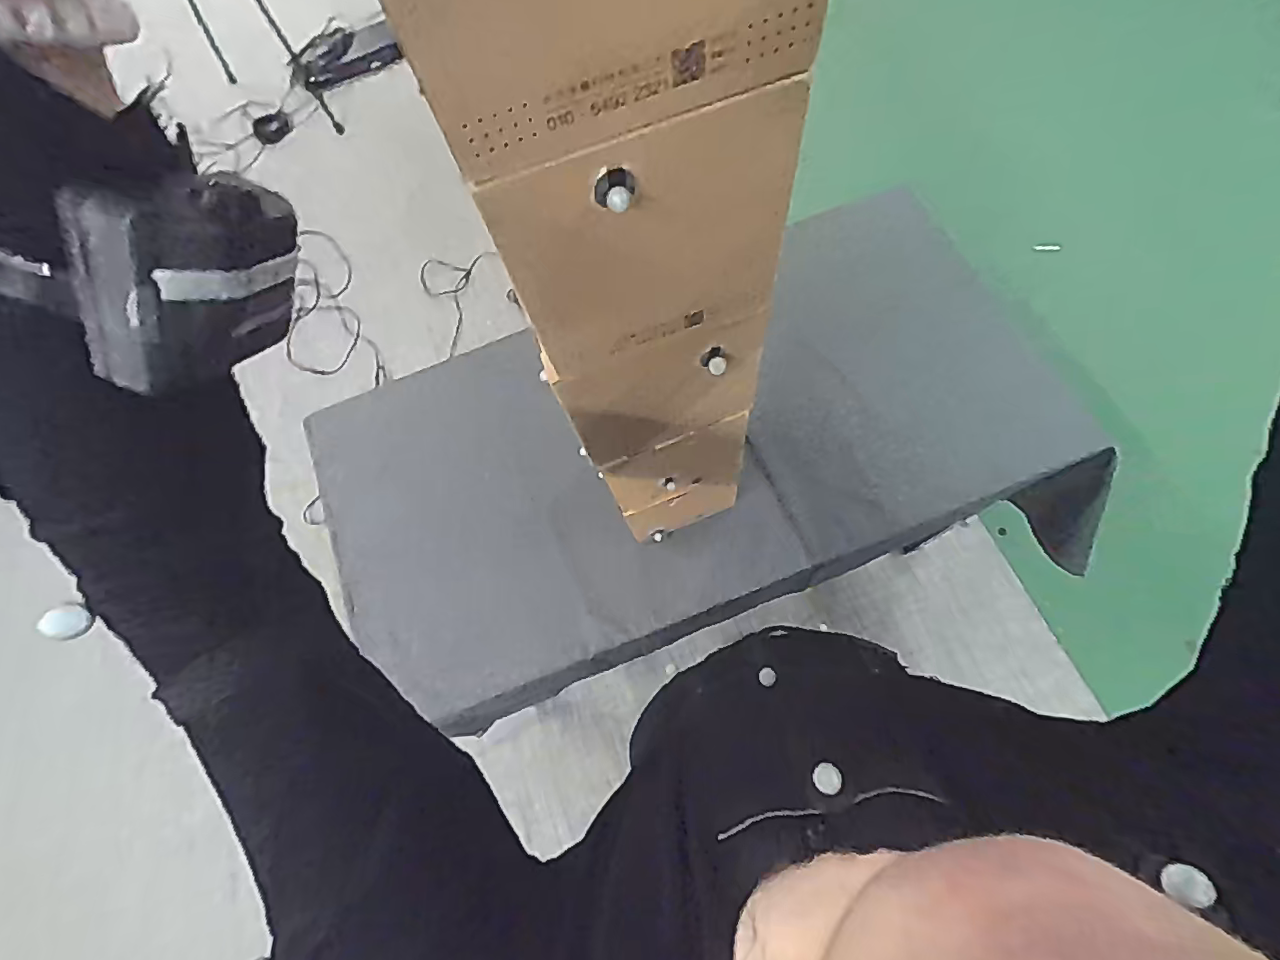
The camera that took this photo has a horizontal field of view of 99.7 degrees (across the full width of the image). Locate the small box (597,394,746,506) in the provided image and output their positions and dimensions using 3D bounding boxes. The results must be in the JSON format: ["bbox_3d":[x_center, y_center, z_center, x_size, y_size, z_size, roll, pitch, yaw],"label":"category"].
[{"bbox_3d":[0.014,-0.092,0.660,0.168,0.176,0.179,-22,69,-1],"label":"small box"}]

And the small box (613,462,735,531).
[{"bbox_3d":[0.034,-0.036,0.811,0.168,0.176,0.179,-22,68,-1],"label":"small box"}]

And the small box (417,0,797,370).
[{"bbox_3d":[-0.020,-0.205,0.354,0.168,0.176,0.179,-20,68,0],"label":"small box"}]

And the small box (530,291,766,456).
[{"bbox_3d":[-0.003,-0.147,0.506,0.179,0.176,0.168,-21,68,0],"label":"small box"}]
